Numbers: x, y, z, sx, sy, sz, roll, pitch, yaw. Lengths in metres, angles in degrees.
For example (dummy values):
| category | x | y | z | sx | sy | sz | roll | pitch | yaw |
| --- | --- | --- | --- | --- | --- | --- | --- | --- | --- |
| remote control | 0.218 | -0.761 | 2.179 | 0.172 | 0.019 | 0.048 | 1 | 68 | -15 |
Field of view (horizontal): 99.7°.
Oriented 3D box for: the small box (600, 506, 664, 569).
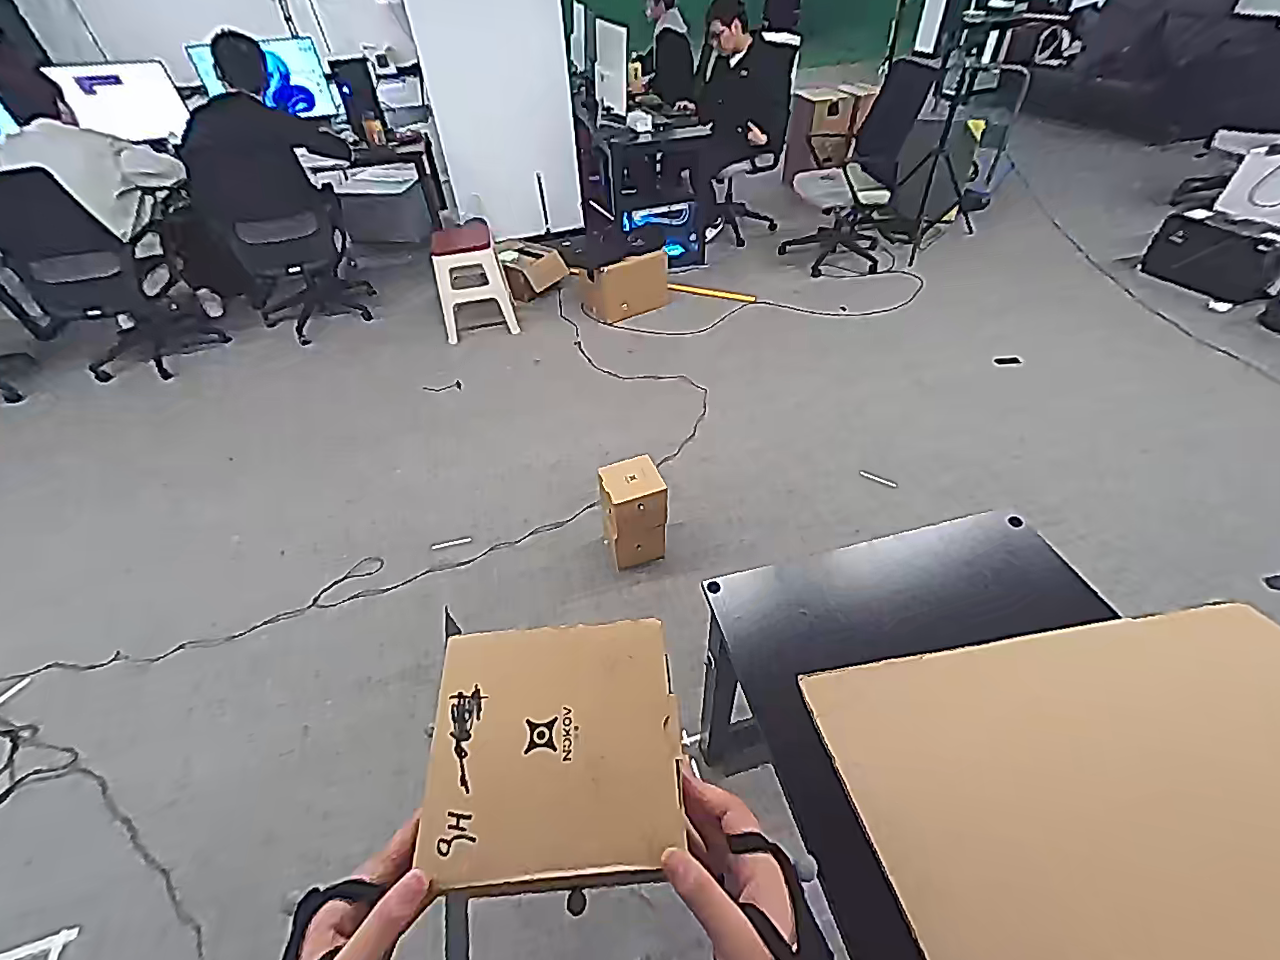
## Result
| category | x | y | z | sx | sy | sz | roll | pitch | yaw |
| --- | --- | --- | --- | --- | --- | --- | --- | --- | --- |
| small box | -0.026 | 0.177 | 1.844 | 0.179 | 0.176 | 0.168 | -16 | 46 | -11 |

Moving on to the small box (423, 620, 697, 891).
| category | x | y | z | sx | sy | sz | roll | pitch | yaw |
| --- | --- | --- | --- | --- | --- | --- | --- | --- | --- |
| small box | -0.055 | 0.233 | 0.453 | 0.179 | 0.176 | 0.168 | -4 | 50 | -2 |

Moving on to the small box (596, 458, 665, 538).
| category | x | y | z | sx | sy | sz | roll | pitch | yaw |
| --- | --- | --- | --- | --- | --- | --- | --- | --- | --- |
| small box | -0.027 | 0.060 | 1.731 | 0.179 | 0.176 | 0.168 | -16 | 47 | -14 |
